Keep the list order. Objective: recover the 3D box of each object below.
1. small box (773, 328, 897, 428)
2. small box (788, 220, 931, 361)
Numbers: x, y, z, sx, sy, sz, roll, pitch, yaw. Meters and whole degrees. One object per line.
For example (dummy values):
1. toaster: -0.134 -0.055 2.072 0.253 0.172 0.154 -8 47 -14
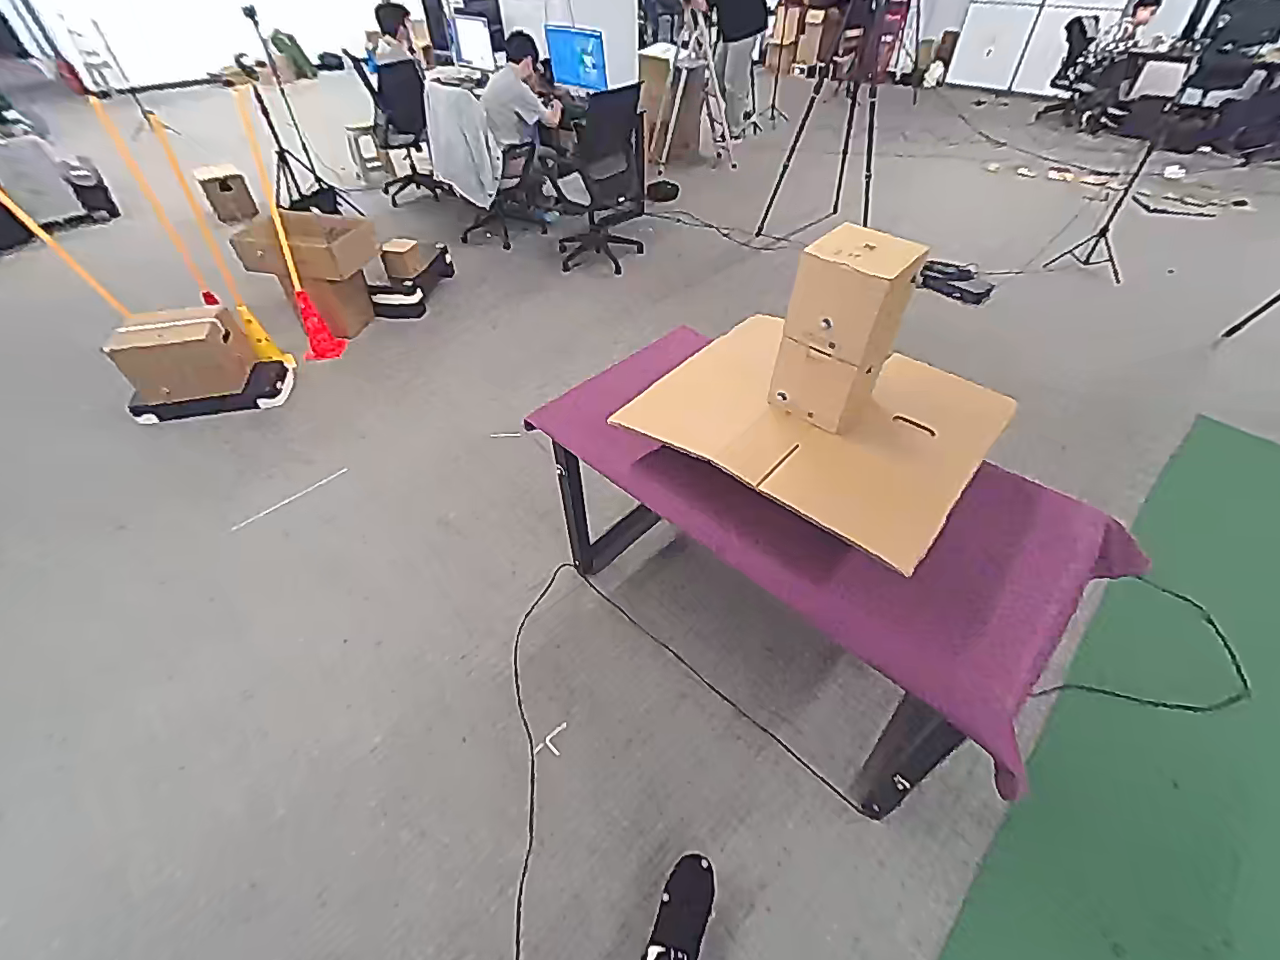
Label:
1. small box: 0.394 -0.237 1.121 0.168 0.176 0.179 33 54 26
2. small box: 0.397 -0.352 1.003 0.168 0.176 0.179 33 55 27
